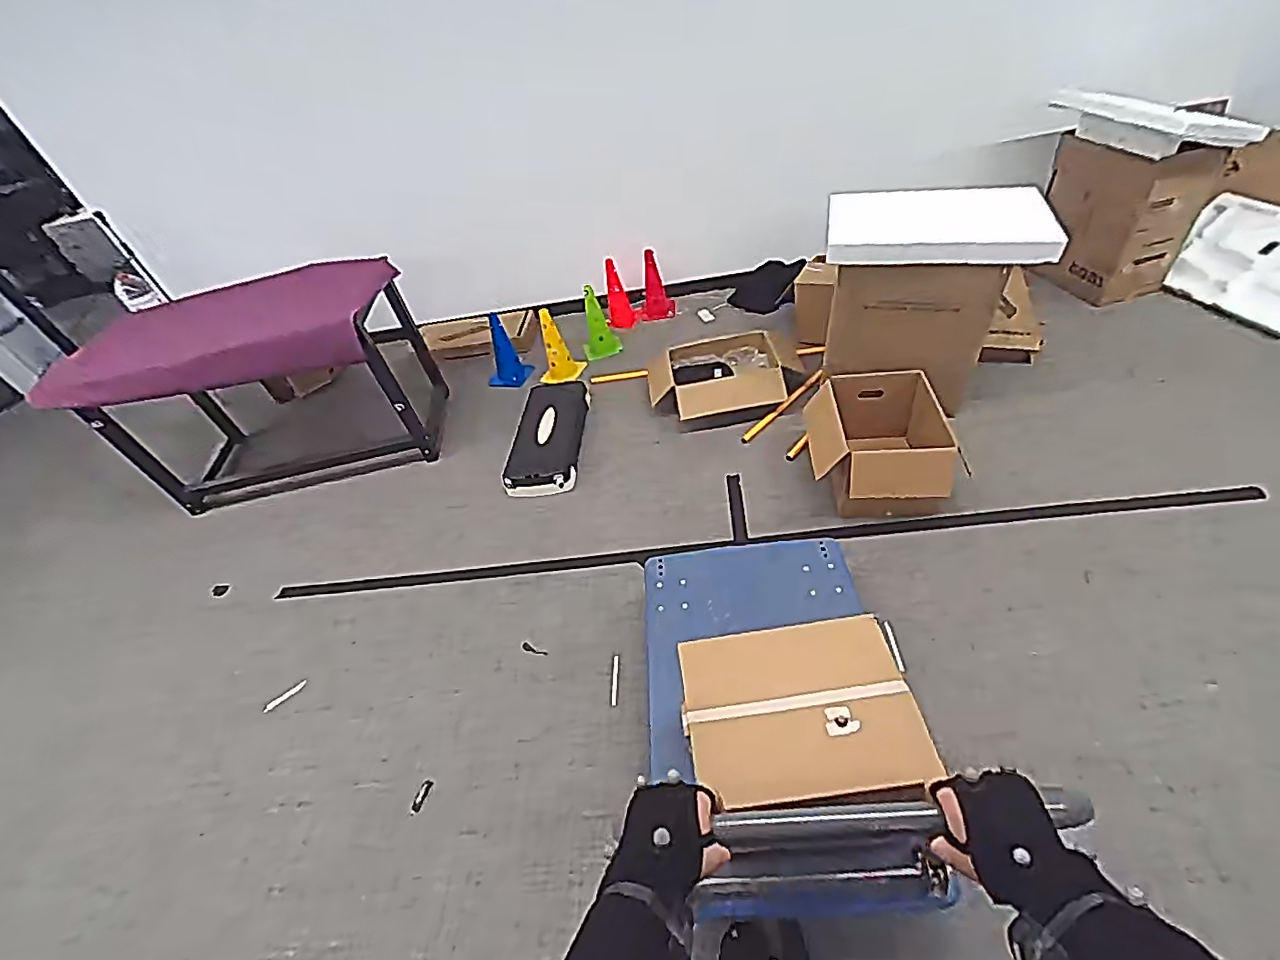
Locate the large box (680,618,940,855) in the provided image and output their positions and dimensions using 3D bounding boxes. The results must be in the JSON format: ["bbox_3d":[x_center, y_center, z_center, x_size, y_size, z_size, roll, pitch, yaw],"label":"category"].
[{"bbox_3d":[0.310,0.525,1.104,0.408,0.320,0.320,-9,44,2],"label":"large box"}]
